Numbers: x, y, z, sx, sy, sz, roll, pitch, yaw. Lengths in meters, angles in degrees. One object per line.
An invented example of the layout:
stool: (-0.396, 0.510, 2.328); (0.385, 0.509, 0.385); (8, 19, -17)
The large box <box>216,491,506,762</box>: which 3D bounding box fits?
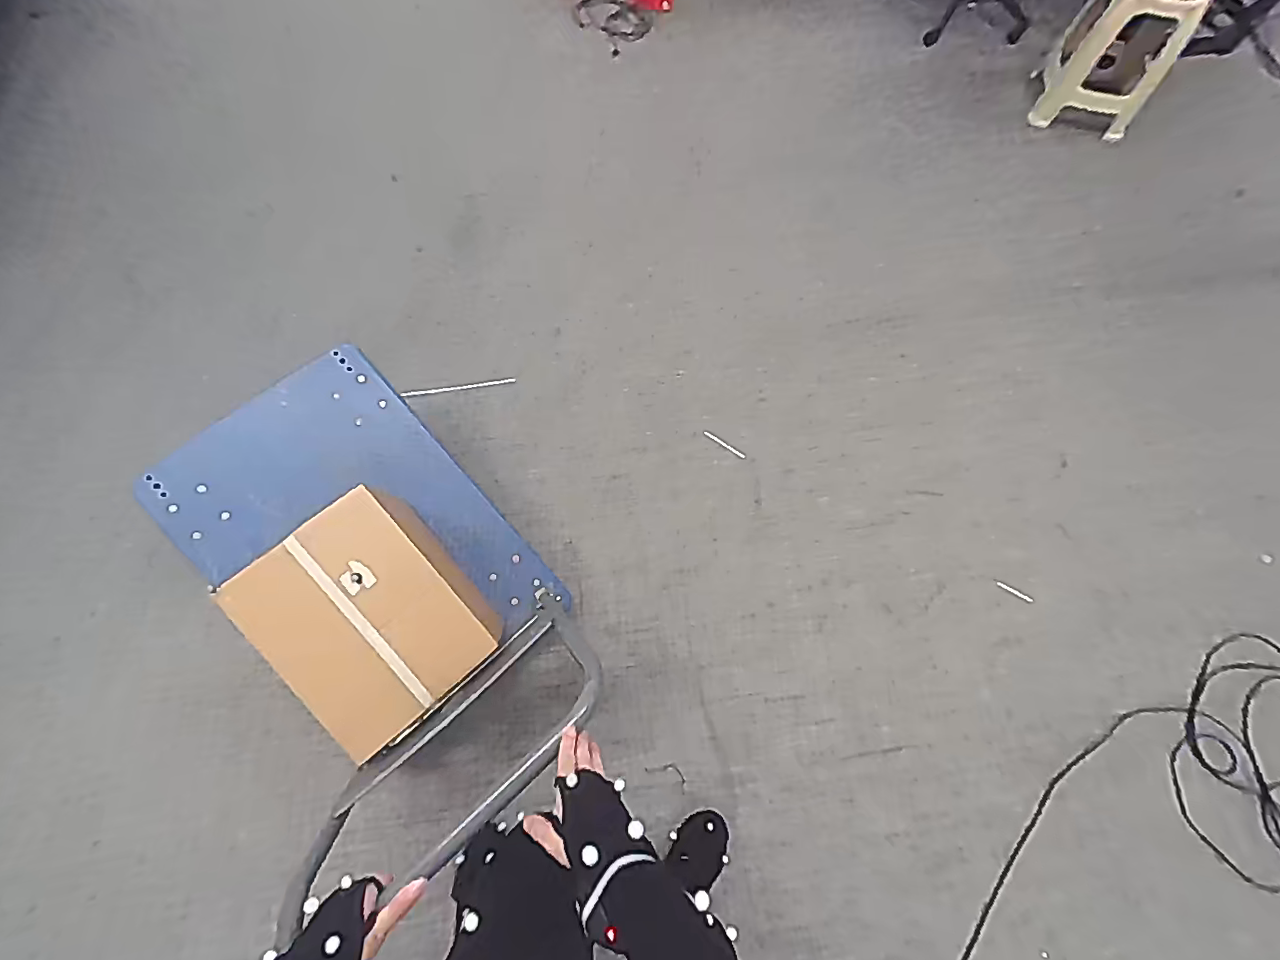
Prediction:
large box: (-0.534, 0.282, 1.134); (0.320, 0.320, 0.408); (-41, 91, -15)
